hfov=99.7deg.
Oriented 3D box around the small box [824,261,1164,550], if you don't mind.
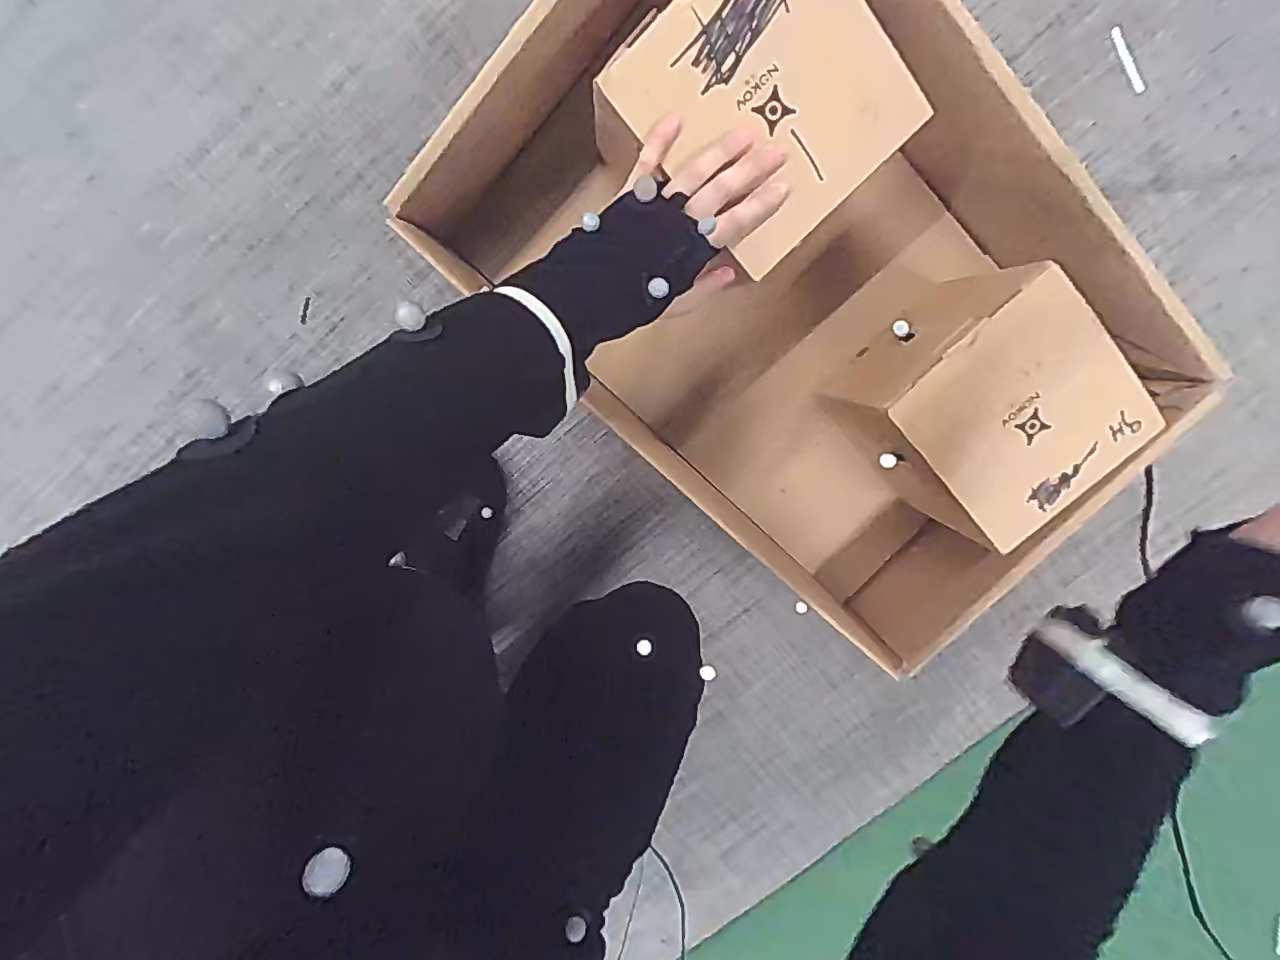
[{"bbox_3d":[0.308,-0.070,0.511,0.168,0.176,0.179,-42,101,8],"label":"small box"}]
